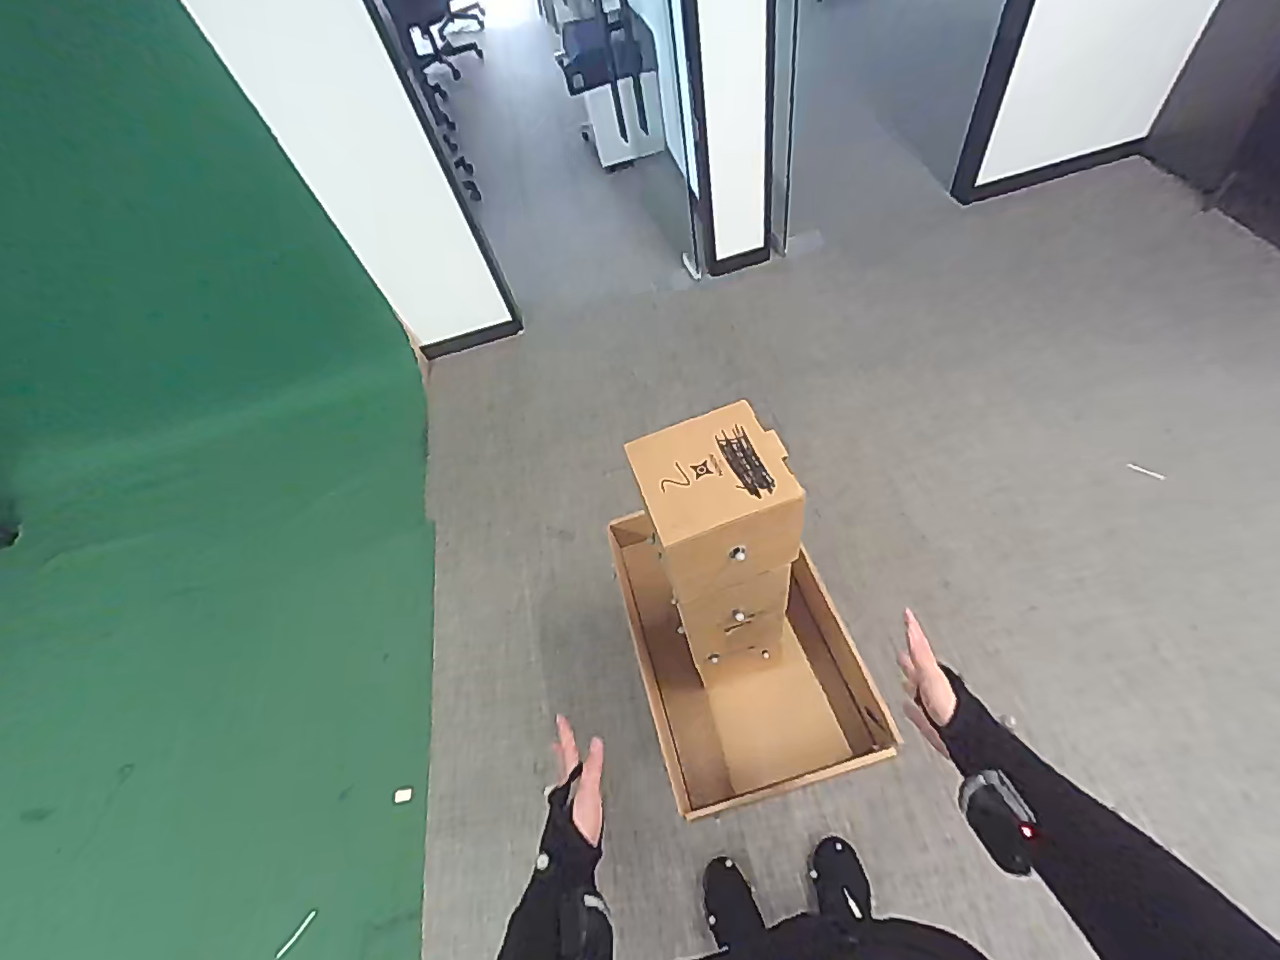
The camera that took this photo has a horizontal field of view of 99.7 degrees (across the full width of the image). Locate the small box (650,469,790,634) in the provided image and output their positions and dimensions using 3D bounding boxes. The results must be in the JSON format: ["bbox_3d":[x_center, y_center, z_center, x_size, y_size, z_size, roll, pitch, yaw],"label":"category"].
[{"bbox_3d":[0.123,0.117,0.854,0.168,0.176,0.179,-17,54,1],"label":"small box"}]

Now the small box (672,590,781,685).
[{"bbox_3d":[0.180,0.305,1.117,0.179,0.176,0.168,-17,53,0],"label":"small box"}]

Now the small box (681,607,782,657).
[{"bbox_3d":[0.152,0.207,0.988,0.168,0.176,0.179,-15,53,1],"label":"small box"}]
